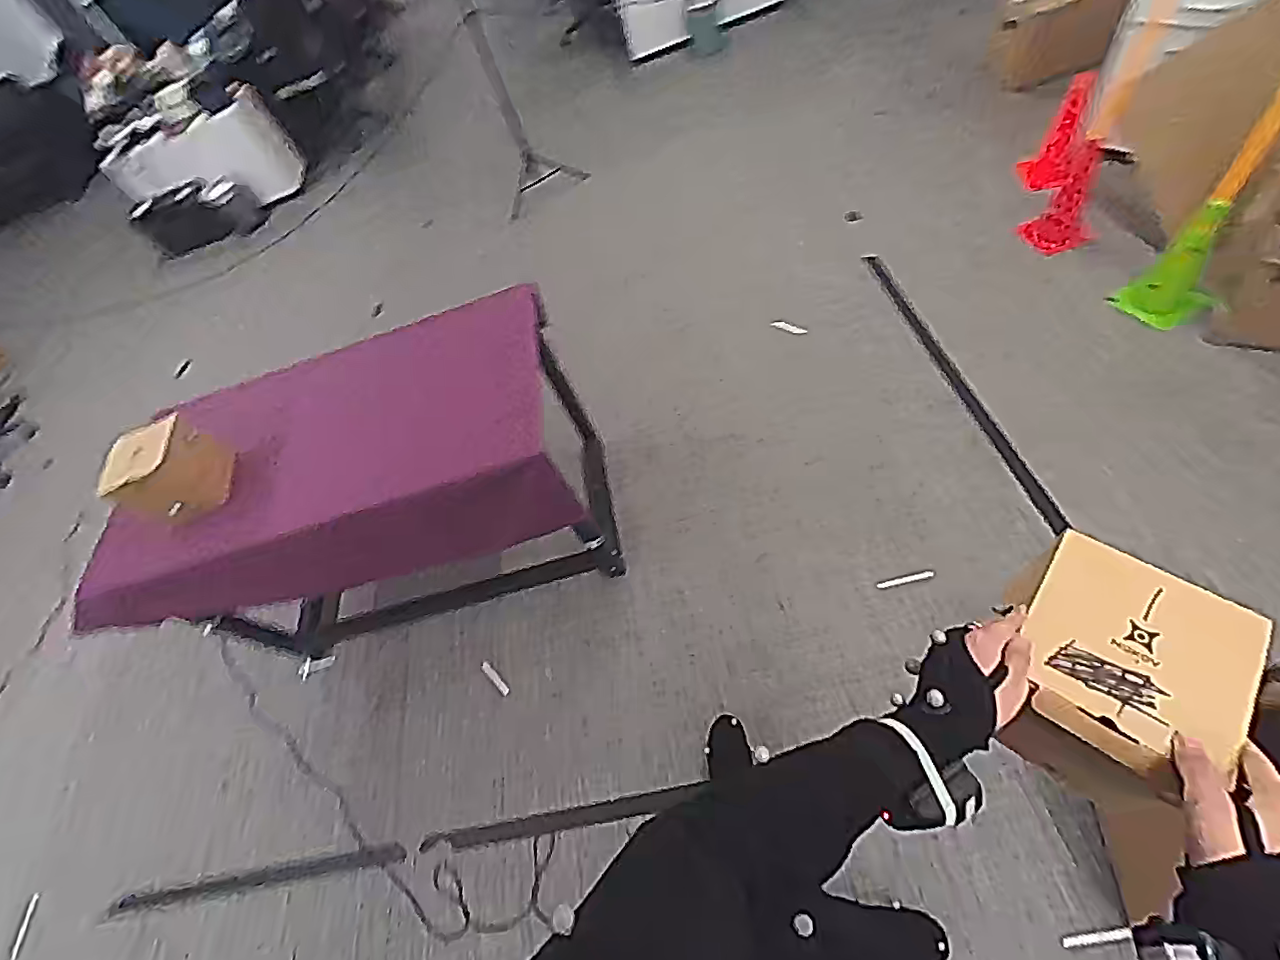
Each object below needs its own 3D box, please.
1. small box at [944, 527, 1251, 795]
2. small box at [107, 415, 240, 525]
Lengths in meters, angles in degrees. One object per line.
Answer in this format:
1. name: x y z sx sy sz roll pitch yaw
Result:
1. small box: 0.440 0.188 0.550 0.168 0.176 0.179 30 65 26
2. small box: -1.130 -0.020 1.328 0.168 0.176 0.179 -23 55 3
